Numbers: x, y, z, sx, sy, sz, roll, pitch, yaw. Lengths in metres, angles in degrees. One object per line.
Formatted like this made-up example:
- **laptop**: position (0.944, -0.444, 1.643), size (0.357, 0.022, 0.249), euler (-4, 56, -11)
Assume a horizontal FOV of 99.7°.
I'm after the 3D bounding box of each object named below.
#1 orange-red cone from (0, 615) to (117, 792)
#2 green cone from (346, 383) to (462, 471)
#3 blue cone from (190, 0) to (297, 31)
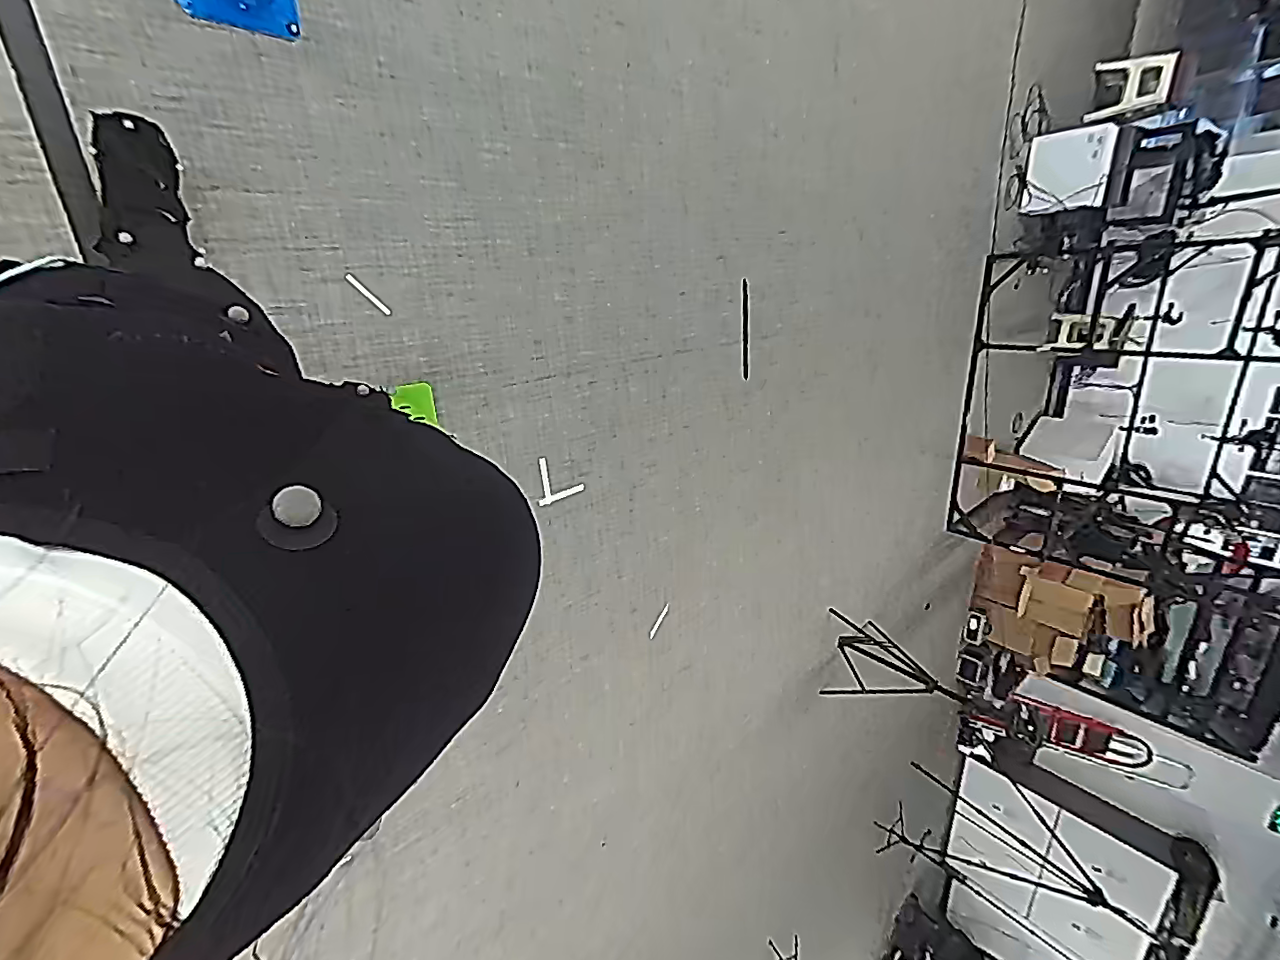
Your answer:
- **orange-red cone**: position (-1.058, 0.410, 0.925), size (0.199, 0.360, 0.198), euler (-13, 110, -37)
- **green cone**: position (-0.511, -0.097, 1.251), size (0.202, 0.368, 0.200), euler (-19, 115, -38)
- **blue cone**: position (-0.652, -0.929, 0.884), size (0.192, 0.380, 0.193), euler (-15, 113, -39)
